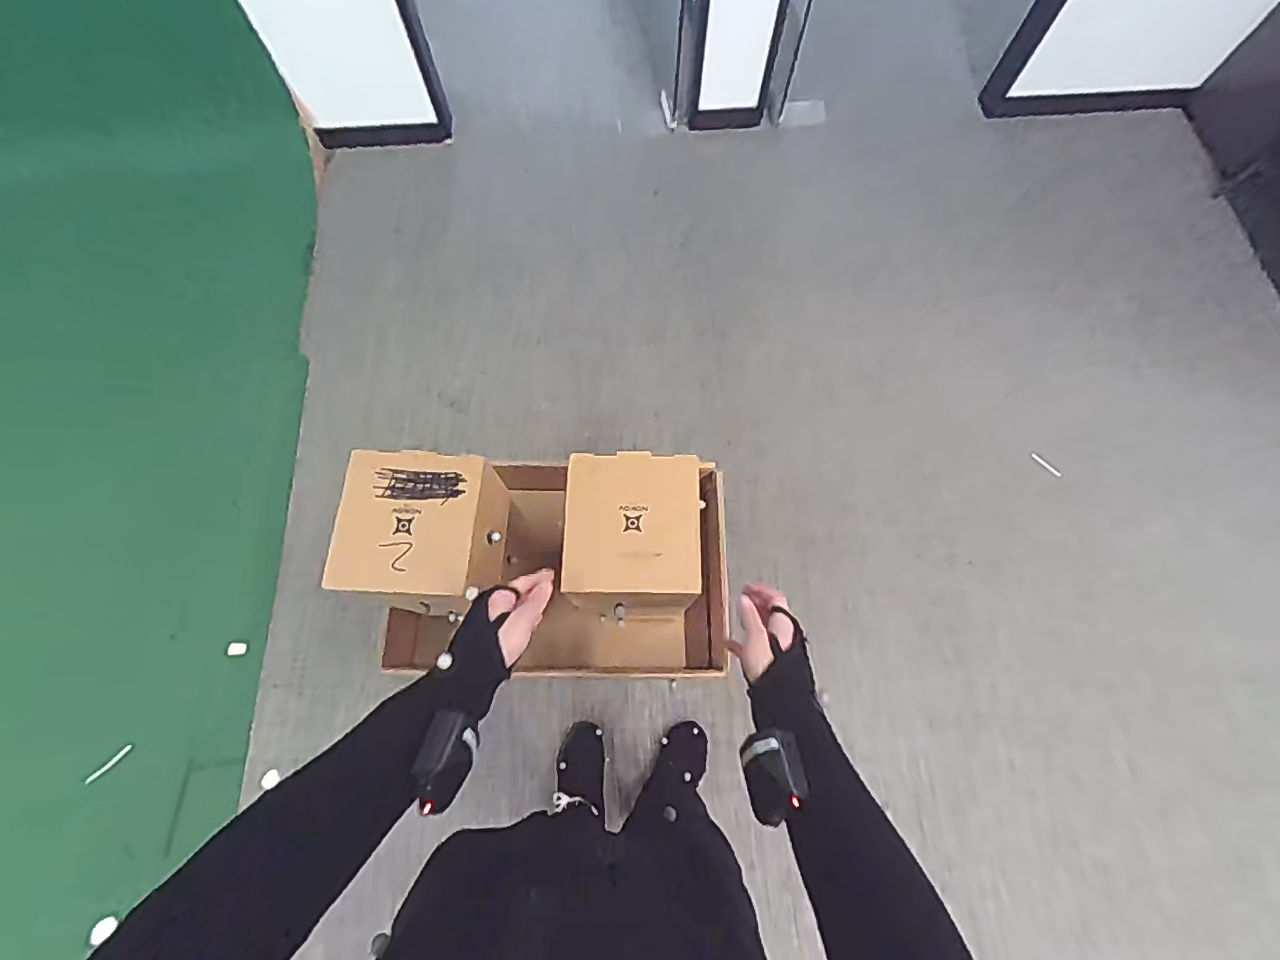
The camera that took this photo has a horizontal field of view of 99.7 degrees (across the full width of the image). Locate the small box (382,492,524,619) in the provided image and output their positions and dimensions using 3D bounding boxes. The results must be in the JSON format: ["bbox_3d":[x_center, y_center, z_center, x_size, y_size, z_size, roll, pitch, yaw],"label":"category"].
[{"bbox_3d":[-0.290,0.130,0.880,0.168,0.176,0.179,3,71,-1],"label":"small box"}]

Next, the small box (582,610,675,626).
[{"bbox_3d":[-0.016,0.186,1.039,0.168,0.176,0.179,1,70,0],"label":"small box"}]

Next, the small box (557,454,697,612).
[{"bbox_3d":[-0.014,0.078,0.730,0.168,0.176,0.179,1,71,0],"label":"small box"}]
